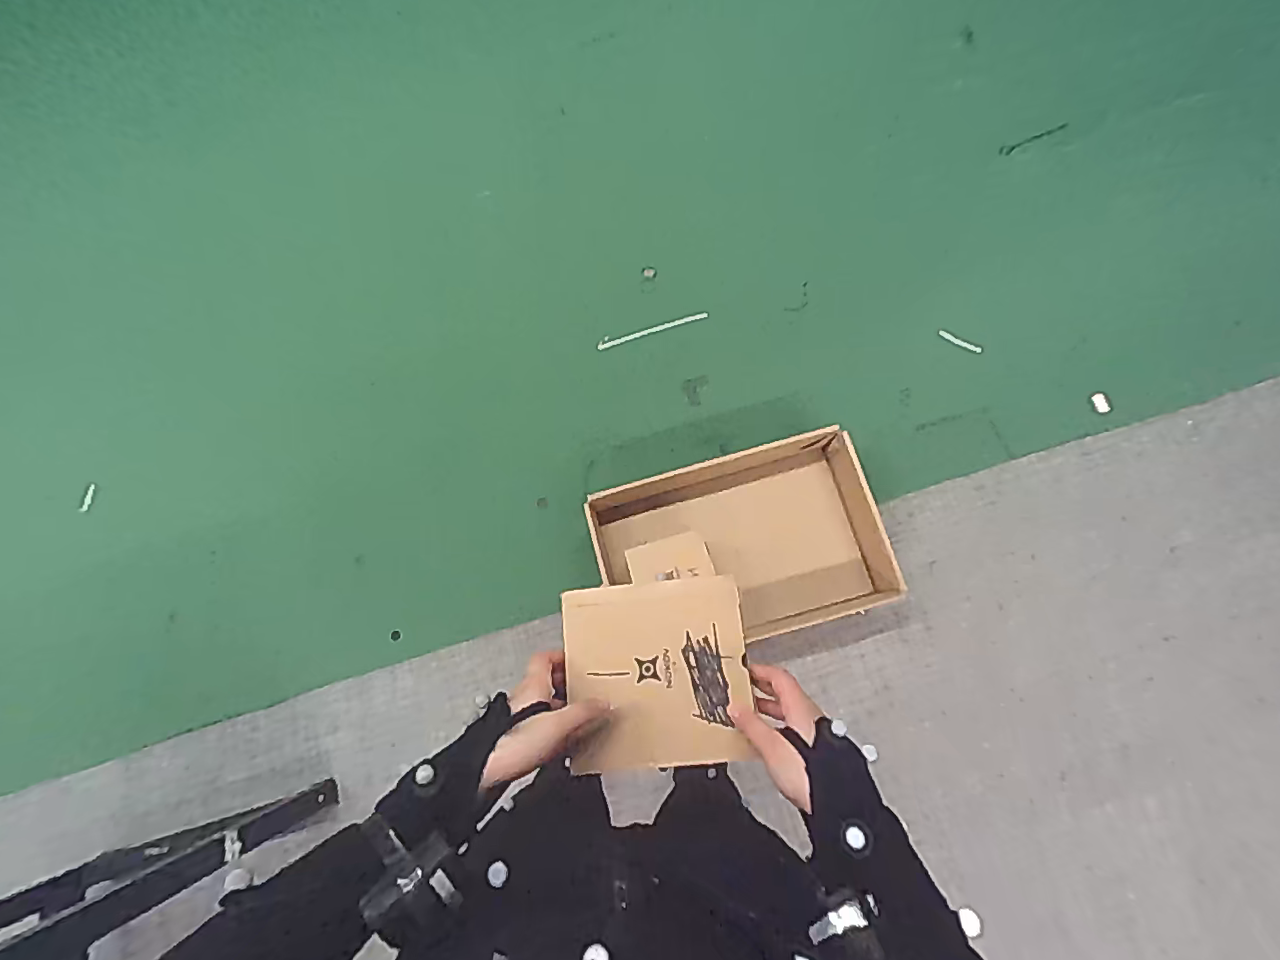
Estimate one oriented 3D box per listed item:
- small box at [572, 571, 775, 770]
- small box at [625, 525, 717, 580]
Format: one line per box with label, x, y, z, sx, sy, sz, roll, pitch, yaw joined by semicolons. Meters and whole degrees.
small box;0.031;0.196;0.575;0.179;0.176;0.168;-6;71;3
small box;0.075;0.211;1.206;0.179;0.176;0.168;-16;78;-2
